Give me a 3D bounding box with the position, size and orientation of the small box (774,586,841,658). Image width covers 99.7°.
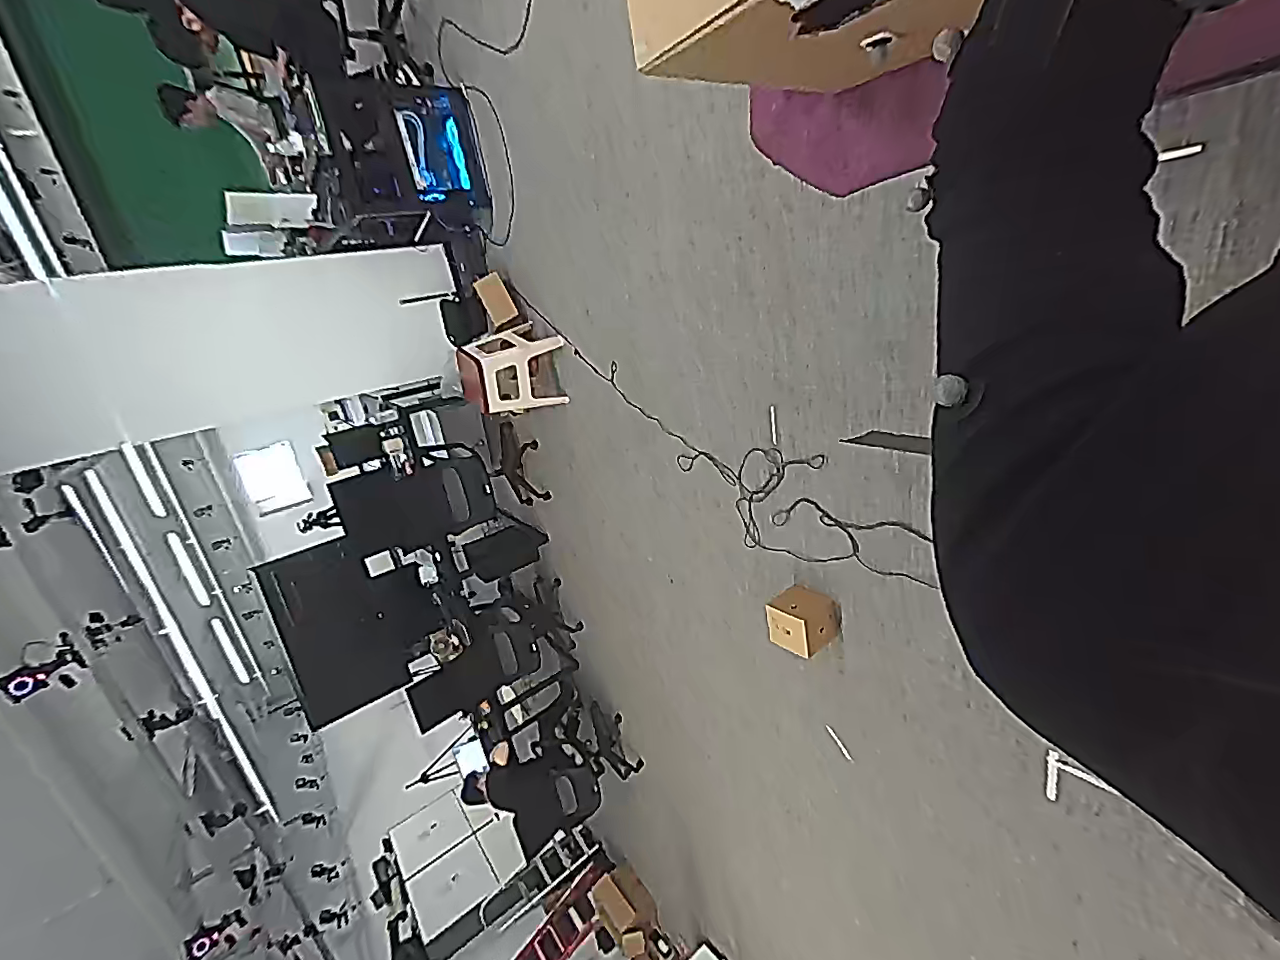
[{"bbox_3d":[0.618,0.510,1.975,0.179,0.176,0.168,16,122,53],"label":"small box"}]
